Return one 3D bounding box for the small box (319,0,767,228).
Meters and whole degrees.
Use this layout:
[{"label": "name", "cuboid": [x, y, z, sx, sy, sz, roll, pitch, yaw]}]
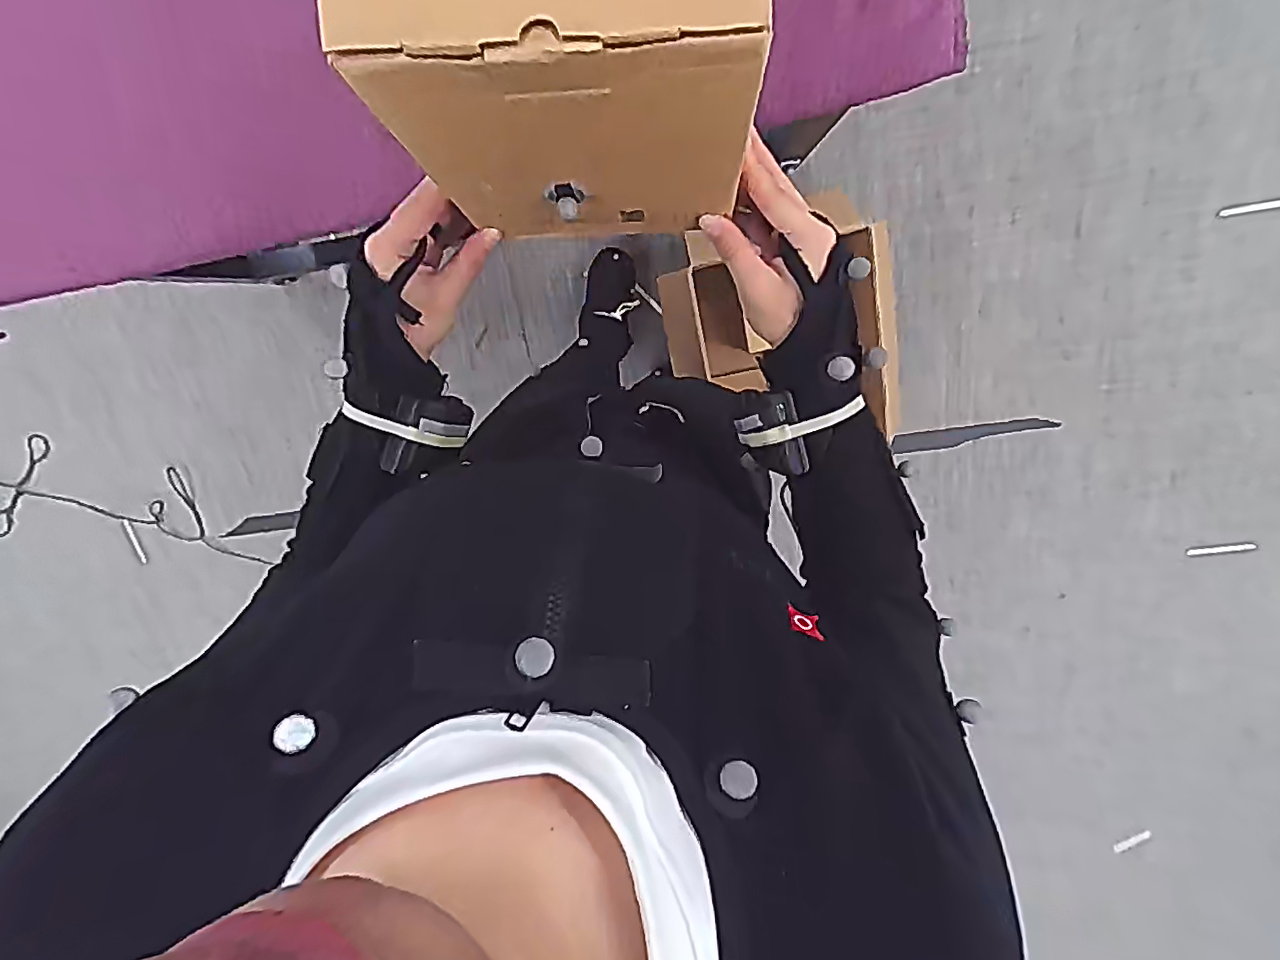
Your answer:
[{"label": "small box", "cuboid": [-0.031, -0.250, 0.270, 0.168, 0.176, 0.179, -1, 93, 5]}]
